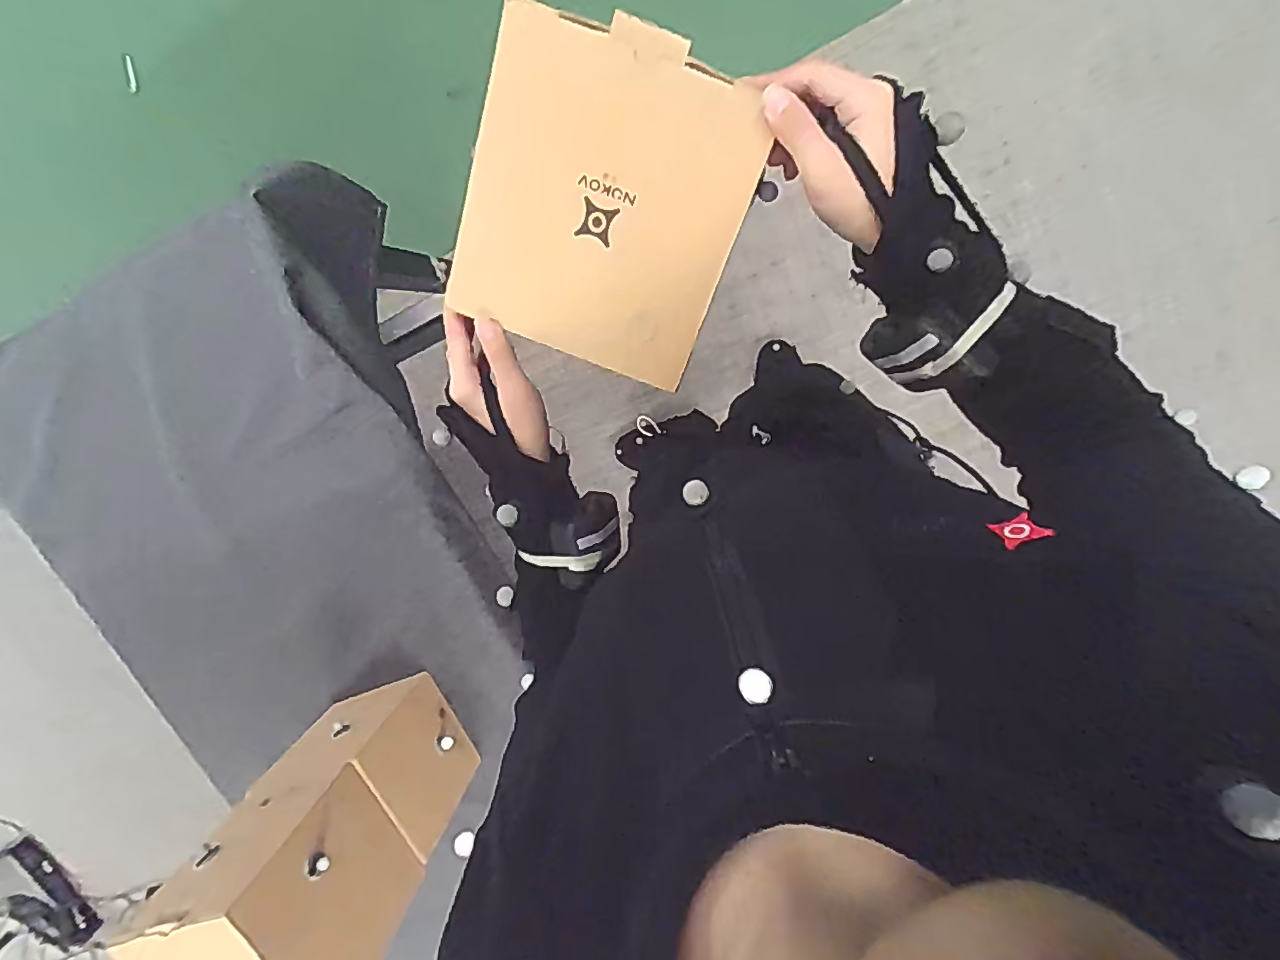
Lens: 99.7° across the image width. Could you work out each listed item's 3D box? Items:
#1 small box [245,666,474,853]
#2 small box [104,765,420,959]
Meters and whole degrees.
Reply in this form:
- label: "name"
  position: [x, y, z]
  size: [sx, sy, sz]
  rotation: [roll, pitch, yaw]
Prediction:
- label: "small box"
  position: [-0.358, 0.382, 0.725]
  size: [0.179, 0.176, 0.168]
  rotation: [-22, 103, 13]
- label: "small box"
  position: [-0.376, 0.434, 0.572]
  size: [0.168, 0.176, 0.179]
  rotation: [-23, 103, 15]
